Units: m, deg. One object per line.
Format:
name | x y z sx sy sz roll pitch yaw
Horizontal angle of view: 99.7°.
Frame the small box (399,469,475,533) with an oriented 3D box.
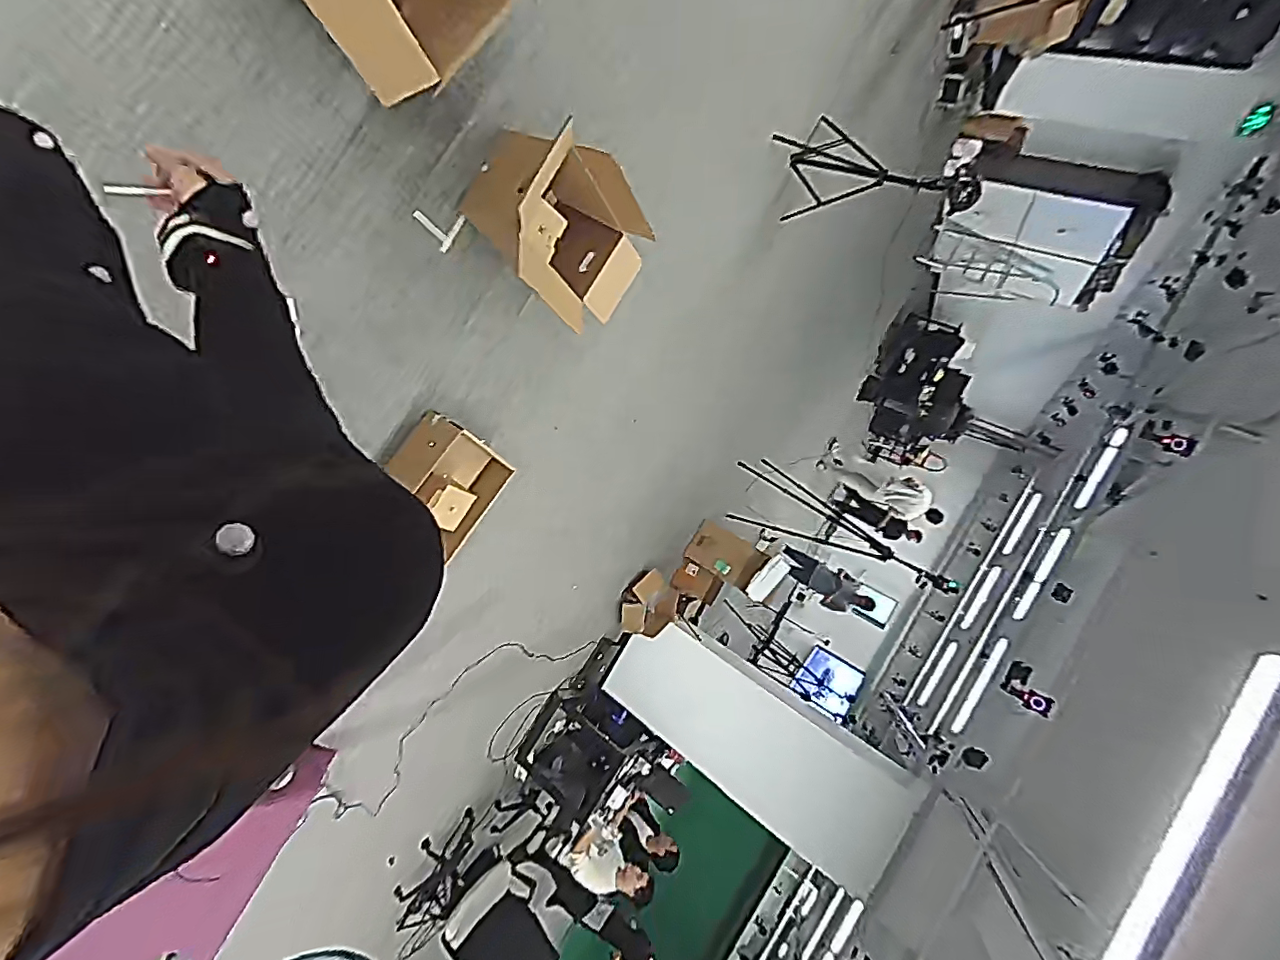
small box | -0.780 0.076 2.068 0.168 0.176 0.179 -57 154 -4
